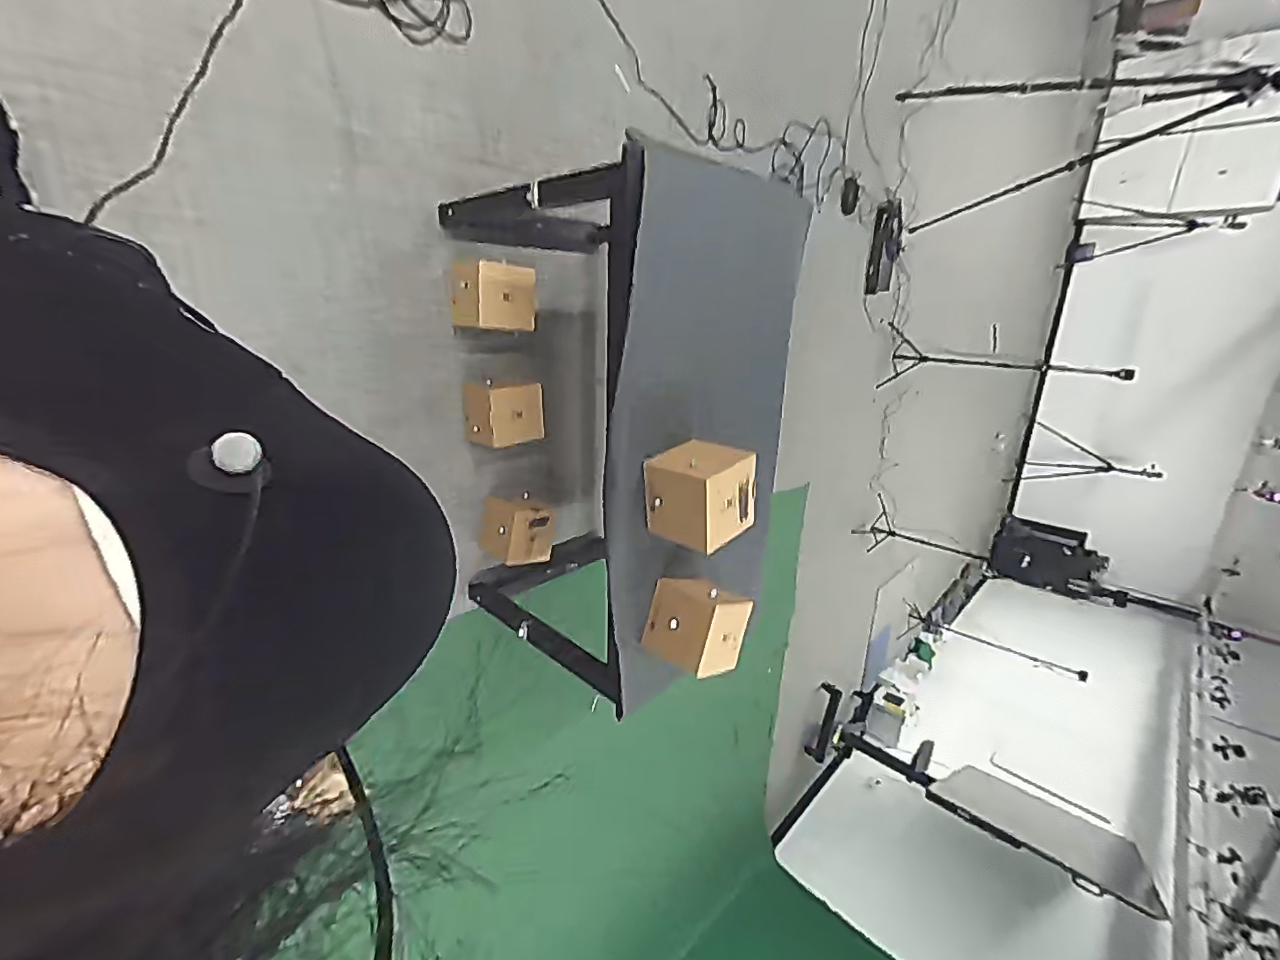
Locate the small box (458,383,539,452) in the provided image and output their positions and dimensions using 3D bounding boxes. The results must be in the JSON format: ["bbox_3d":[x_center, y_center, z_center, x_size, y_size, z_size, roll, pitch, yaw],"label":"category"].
[{"bbox_3d":[-0.423,-0.190,1.603,0.179,0.176,0.168,-20,117,-43],"label":"small box"}]

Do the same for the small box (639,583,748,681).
[{"bbox_3d":[0.124,0.347,1.268,0.179,0.176,0.168,13,93,-51],"label":"small box"}]

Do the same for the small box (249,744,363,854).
[{"bbox_3d":[-0.889,0.842,1.440,0.168,0.176,0.179,-48,134,-26],"label":"small box"}]

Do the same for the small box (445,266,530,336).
[{"bbox_3d":[-0.426,-0.492,1.501,0.179,0.176,0.168,-11,110,-46],"label":"small box"}]

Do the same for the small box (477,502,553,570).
[{"bbox_3d":[-0.407,0.172,1.741,0.168,0.176,0.179,2,103,-47],"label":"small box"}]
